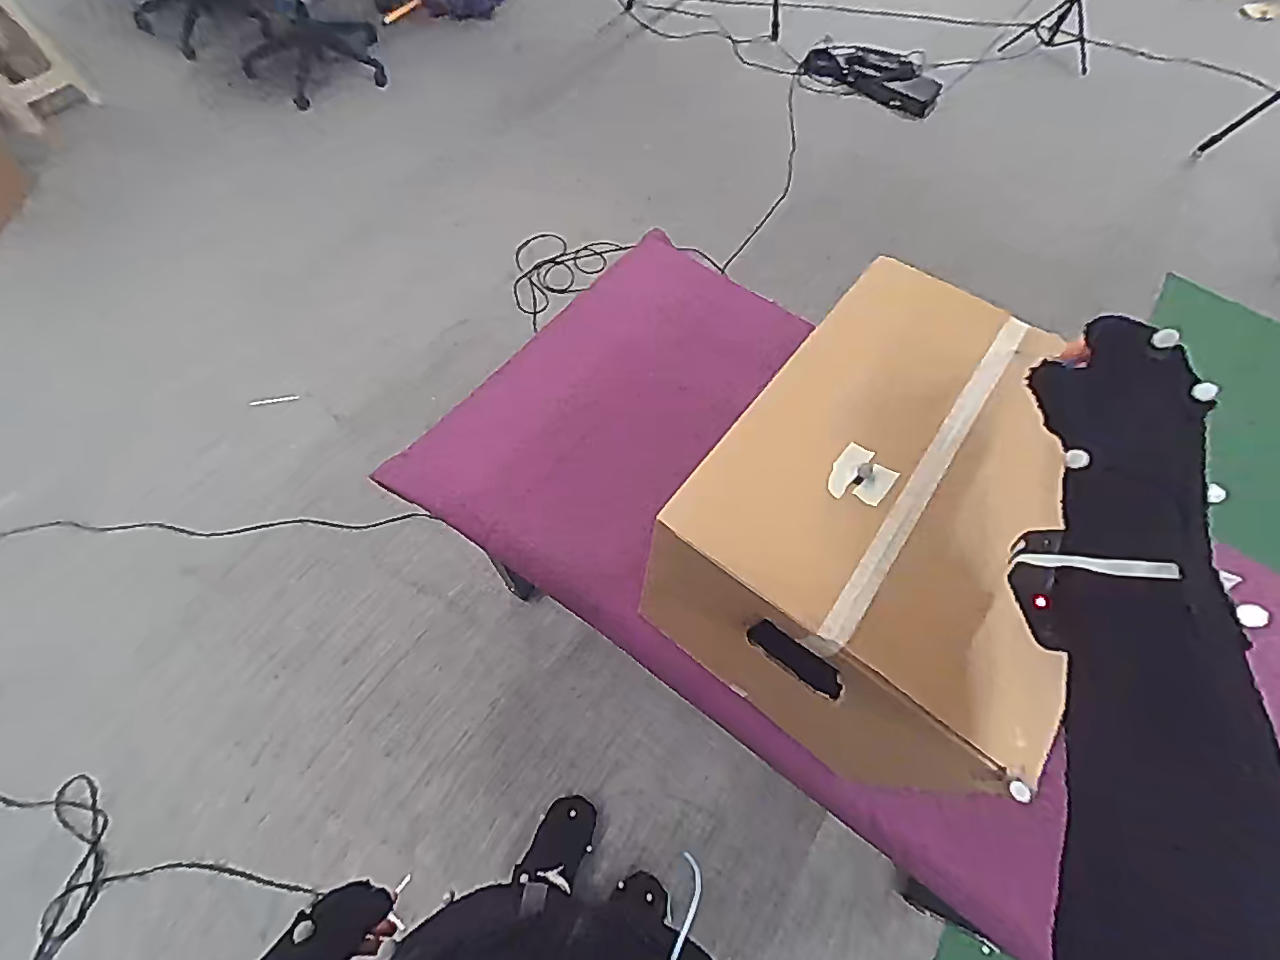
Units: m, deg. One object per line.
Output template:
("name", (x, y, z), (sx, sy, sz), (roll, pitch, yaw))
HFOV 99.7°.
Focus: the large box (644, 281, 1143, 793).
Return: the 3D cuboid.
("large box", (0.249, 0.064, 0.622), (0.320, 0.320, 0.408), (36, 66, 15))
